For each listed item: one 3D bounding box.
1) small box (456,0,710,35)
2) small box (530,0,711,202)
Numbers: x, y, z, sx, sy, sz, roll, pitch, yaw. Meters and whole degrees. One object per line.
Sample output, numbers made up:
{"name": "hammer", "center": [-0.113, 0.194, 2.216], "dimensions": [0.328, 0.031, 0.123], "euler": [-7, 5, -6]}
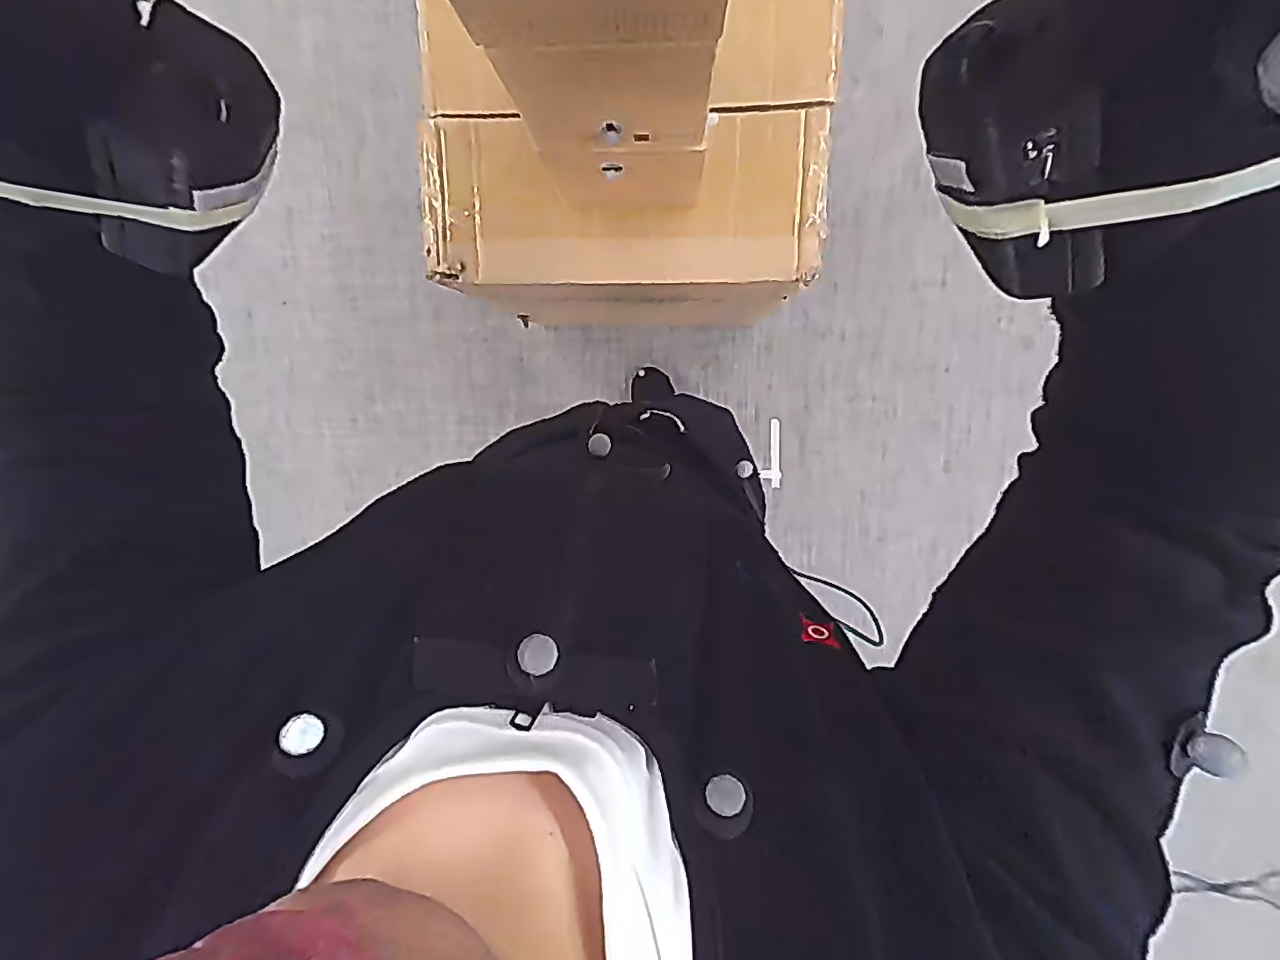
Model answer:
{"name": "small box", "center": [-0.033, -0.368, 0.275], "dimensions": [0.179, 0.176, 0.168], "euler": [1, 101, 3]}
{"name": "small box", "center": [-0.015, -0.421, 0.599], "dimensions": [0.179, 0.176, 0.168], "euler": [1, 101, 3]}
